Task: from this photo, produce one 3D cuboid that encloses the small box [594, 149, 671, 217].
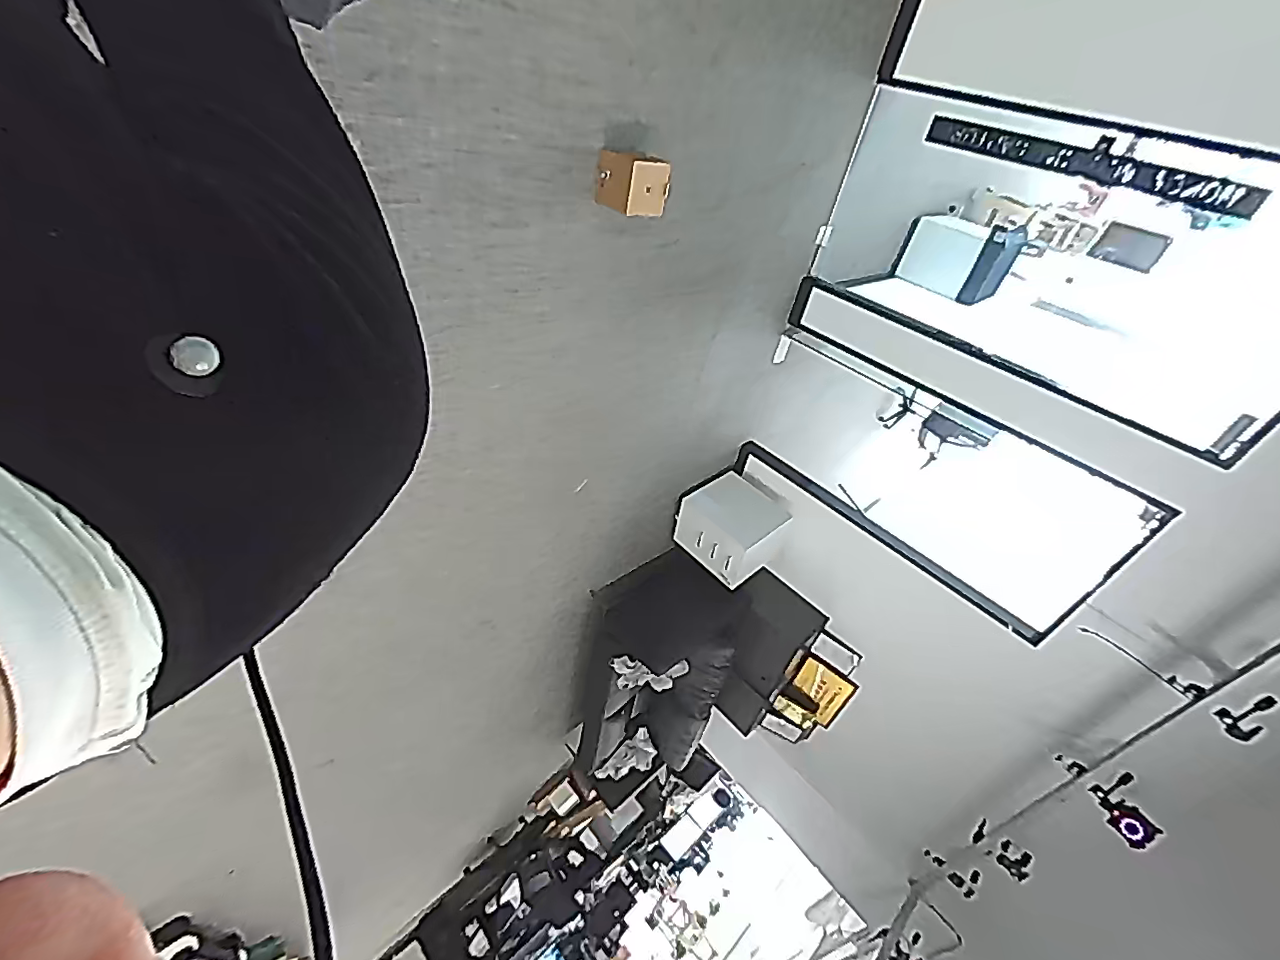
[{"bbox_3d":[-0.027,-1.002,1.826,0.179,0.176,0.168,-21,137,-40],"label":"small box"}]
